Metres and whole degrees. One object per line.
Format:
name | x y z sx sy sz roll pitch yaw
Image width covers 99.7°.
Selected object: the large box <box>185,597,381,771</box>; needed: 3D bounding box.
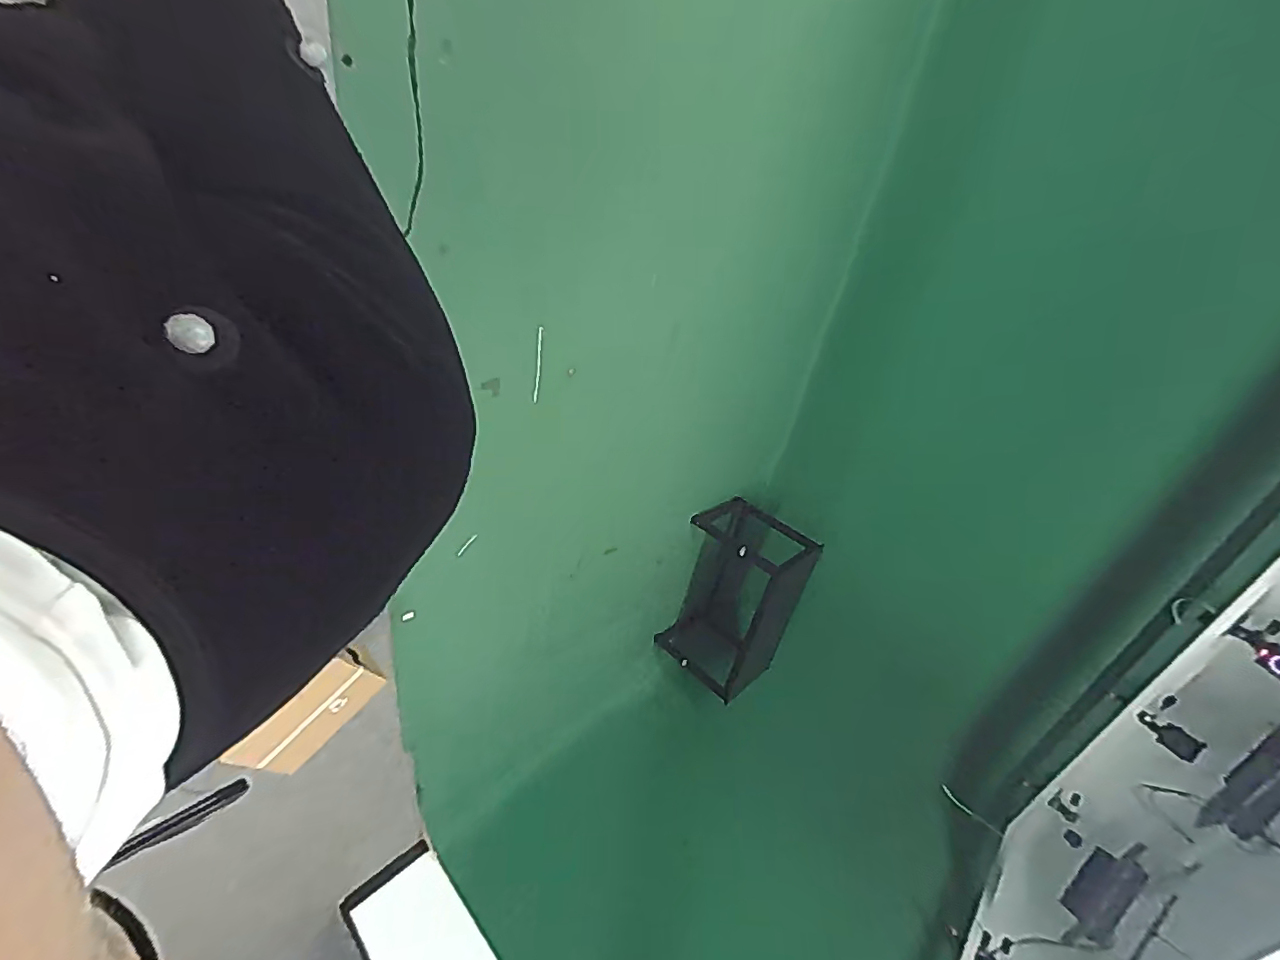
large box | -1.186 0.681 1.814 0.408 0.320 0.320 -46 147 -18
